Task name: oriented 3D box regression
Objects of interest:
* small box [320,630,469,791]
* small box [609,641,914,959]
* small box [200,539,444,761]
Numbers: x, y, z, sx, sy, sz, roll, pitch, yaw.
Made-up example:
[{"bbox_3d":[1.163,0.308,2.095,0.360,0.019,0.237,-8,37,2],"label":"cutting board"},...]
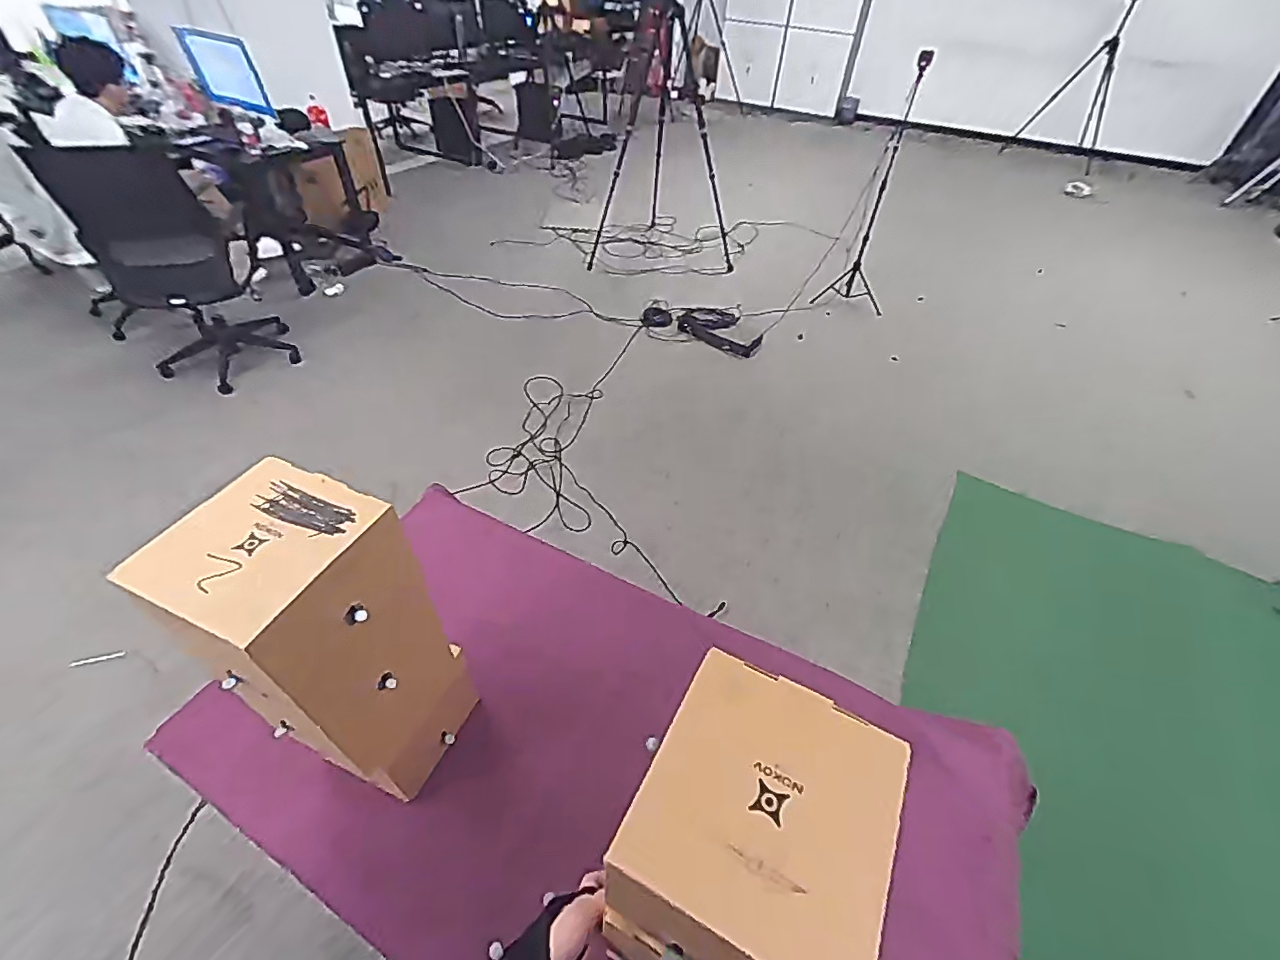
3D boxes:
[{"bbox_3d":[-0.372,0.317,0.797,0.168,0.176,0.179,18,46,14],"label":"small box"},{"bbox_3d":[0.084,0.269,0.421,0.168,0.176,0.179,23,47,19],"label":"small box"},{"bbox_3d":[-0.369,0.212,0.668,0.168,0.176,0.179,20,47,14],"label":"small box"}]
